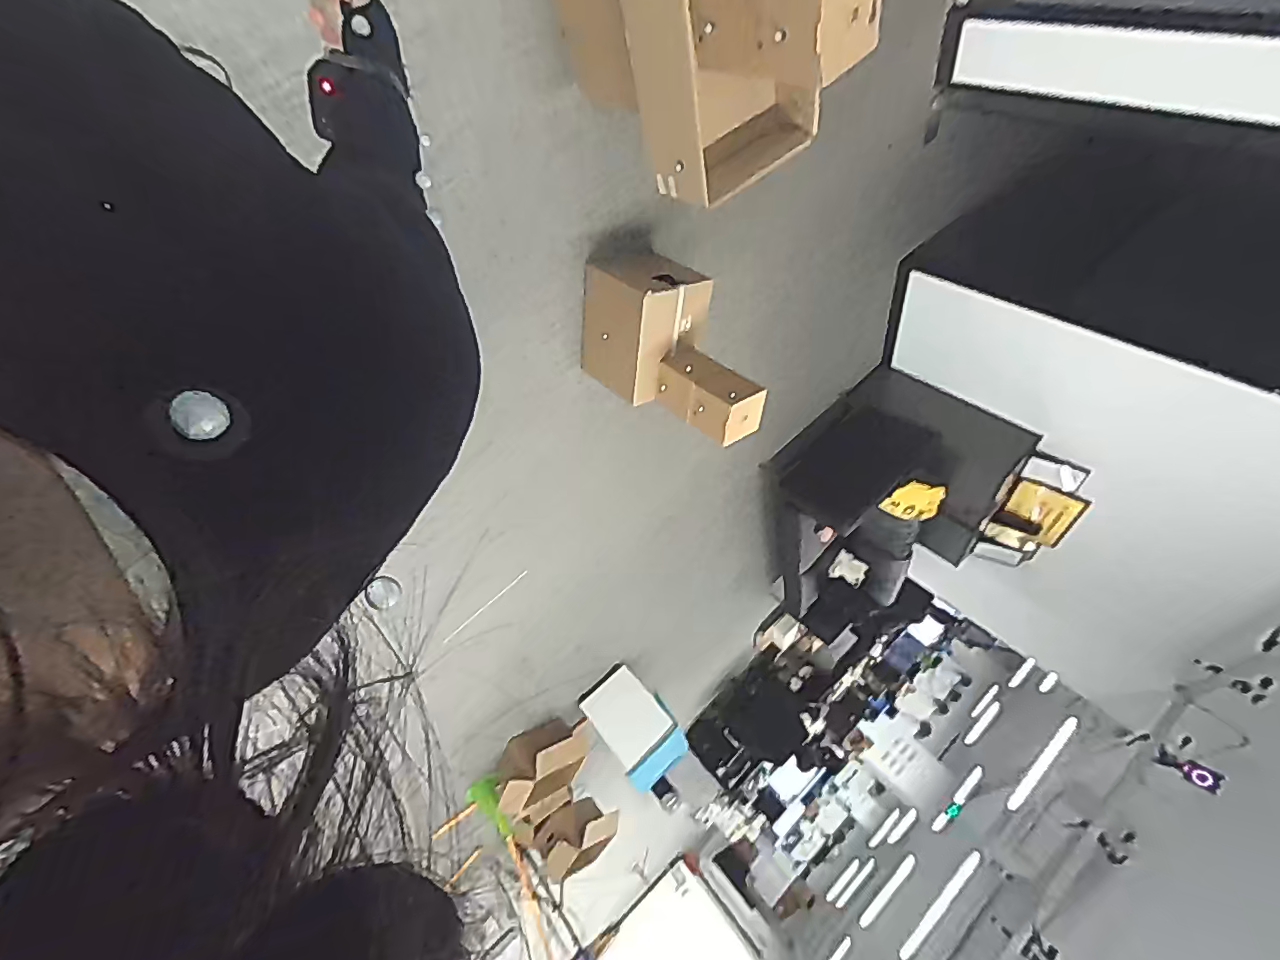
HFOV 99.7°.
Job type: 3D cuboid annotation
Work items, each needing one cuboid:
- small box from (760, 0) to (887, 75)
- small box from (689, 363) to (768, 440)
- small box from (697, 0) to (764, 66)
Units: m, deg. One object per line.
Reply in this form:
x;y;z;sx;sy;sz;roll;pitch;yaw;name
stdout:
0.339;-0.901;1.015;0.179;0.176;0.168;-40;146;-11;small box
0.289;-0.267;1.790;0.179;0.176;0.168;-27;141;-30;small box
0.238;-0.990;1.108;0.179;0.176;0.168;-39;145;-14;small box
